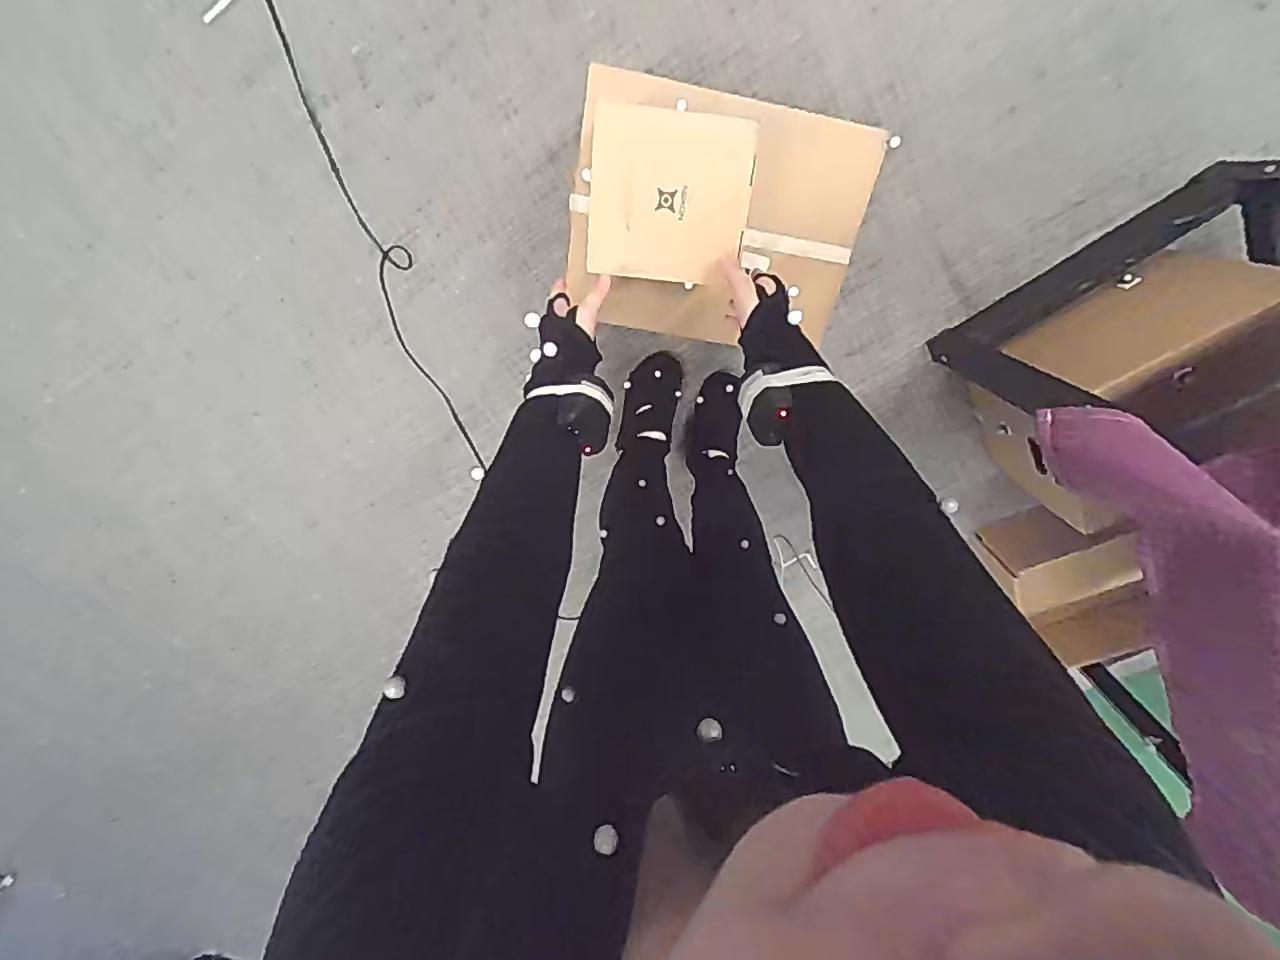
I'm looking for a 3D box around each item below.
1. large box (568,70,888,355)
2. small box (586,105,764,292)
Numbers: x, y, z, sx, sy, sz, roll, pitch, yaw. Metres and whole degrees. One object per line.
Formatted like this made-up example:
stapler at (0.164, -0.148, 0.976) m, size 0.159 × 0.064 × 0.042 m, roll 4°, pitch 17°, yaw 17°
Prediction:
large box at (0.103, -0.424, 0.891) m, size 0.408 × 0.320 × 0.320 m, roll 8°, pitch 119°, yaw -7°
small box at (0.031, -0.336, 0.657) m, size 0.179 × 0.176 × 0.168 m, roll 5°, pitch 117°, yaw -4°
